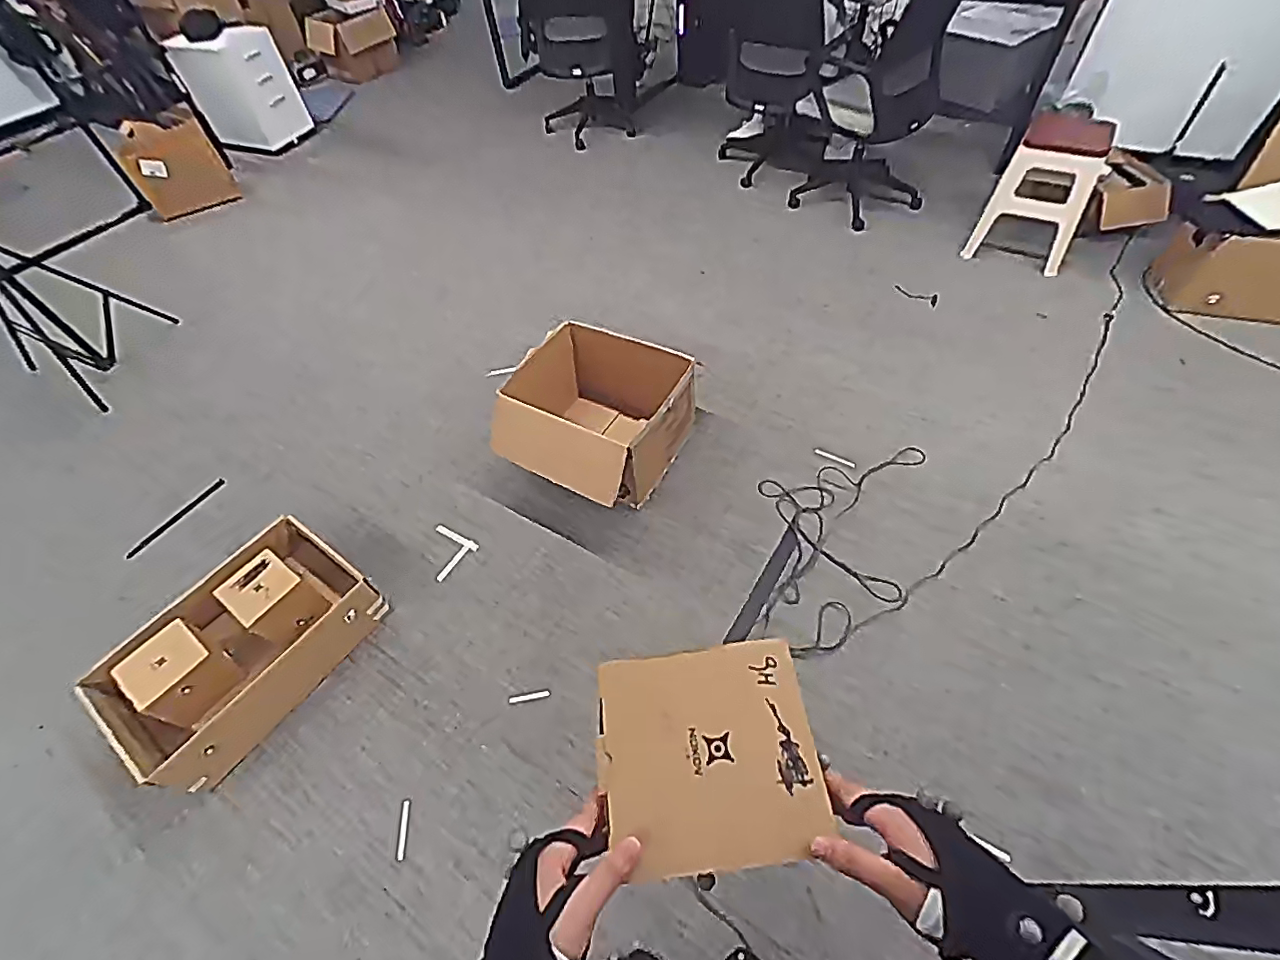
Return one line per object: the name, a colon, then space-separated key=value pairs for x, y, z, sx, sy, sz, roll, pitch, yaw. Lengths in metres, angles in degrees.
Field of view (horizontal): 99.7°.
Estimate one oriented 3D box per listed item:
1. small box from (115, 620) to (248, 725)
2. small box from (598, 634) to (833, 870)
small box: x=-1.189 y=0.509 z=1.415 sx=0.168 sy=0.176 sz=0.179 roll=30 pitch=60 yaw=22
small box: x=0.063 y=0.266 z=0.519 sx=0.179 sy=0.176 sz=0.168 roll=-9 pitch=54 yaw=1
